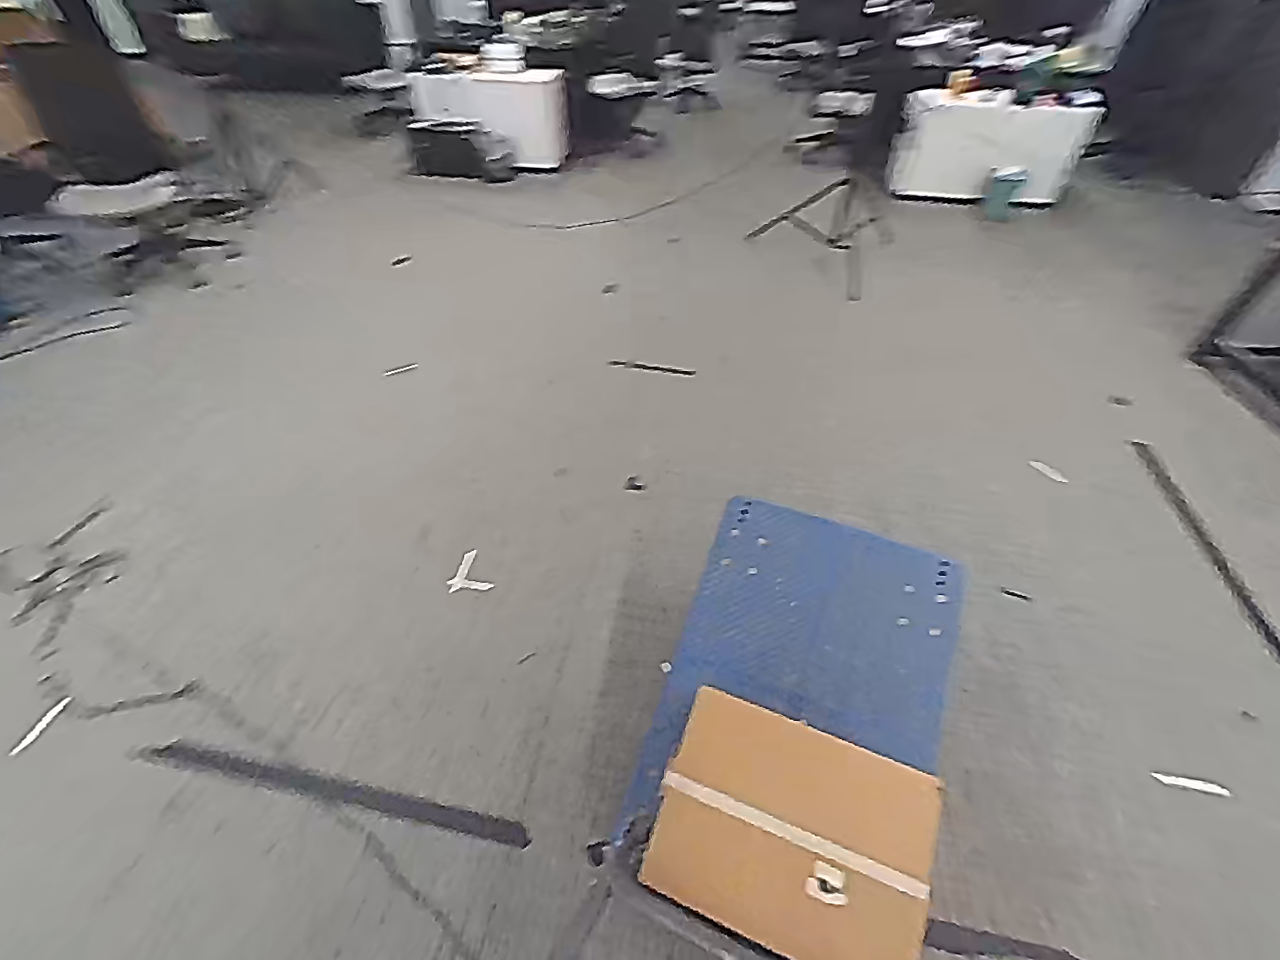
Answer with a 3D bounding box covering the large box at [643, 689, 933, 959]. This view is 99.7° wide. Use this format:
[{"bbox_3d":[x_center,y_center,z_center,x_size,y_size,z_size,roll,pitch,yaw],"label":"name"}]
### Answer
[{"bbox_3d":[0.252,0.620,1.002,0.408,0.320,0.320,17,69,14],"label":"large box"}]
